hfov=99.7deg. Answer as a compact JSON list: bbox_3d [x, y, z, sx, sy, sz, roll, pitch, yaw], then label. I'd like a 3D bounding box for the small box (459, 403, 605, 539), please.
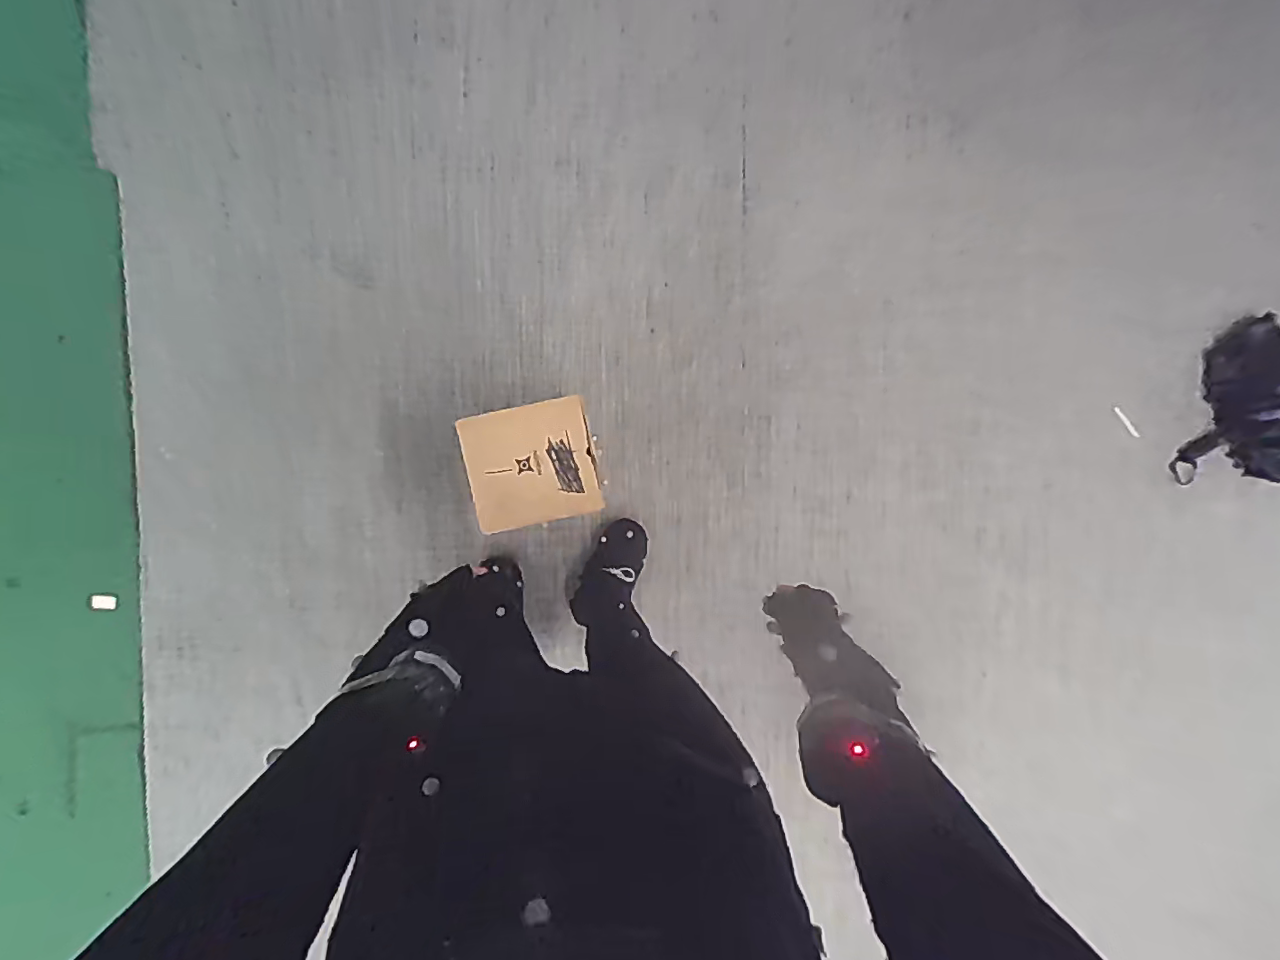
[{"bbox_3d":[-0.154,-0.017,0.831,0.179,0.176,0.168,-12,92,-2],"label":"small box"}]
